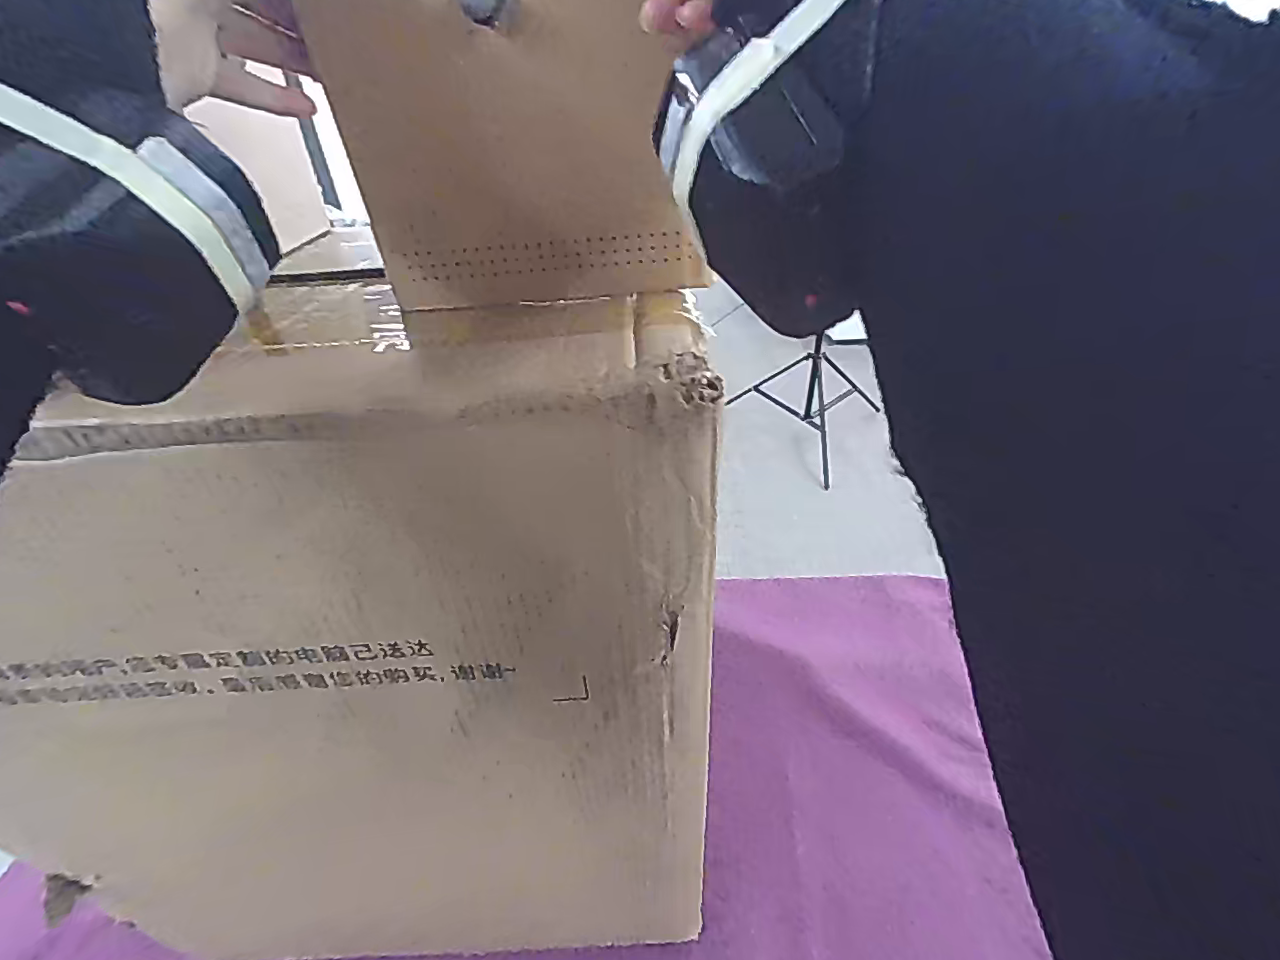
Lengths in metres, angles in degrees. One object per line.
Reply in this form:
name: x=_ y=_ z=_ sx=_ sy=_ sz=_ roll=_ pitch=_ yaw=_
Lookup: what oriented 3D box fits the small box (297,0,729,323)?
small box: x=-0.046 y=-0.203 z=0.308 sx=0.179 sy=0.176 sz=0.168 roll=-4 pitch=39 yaw=3
